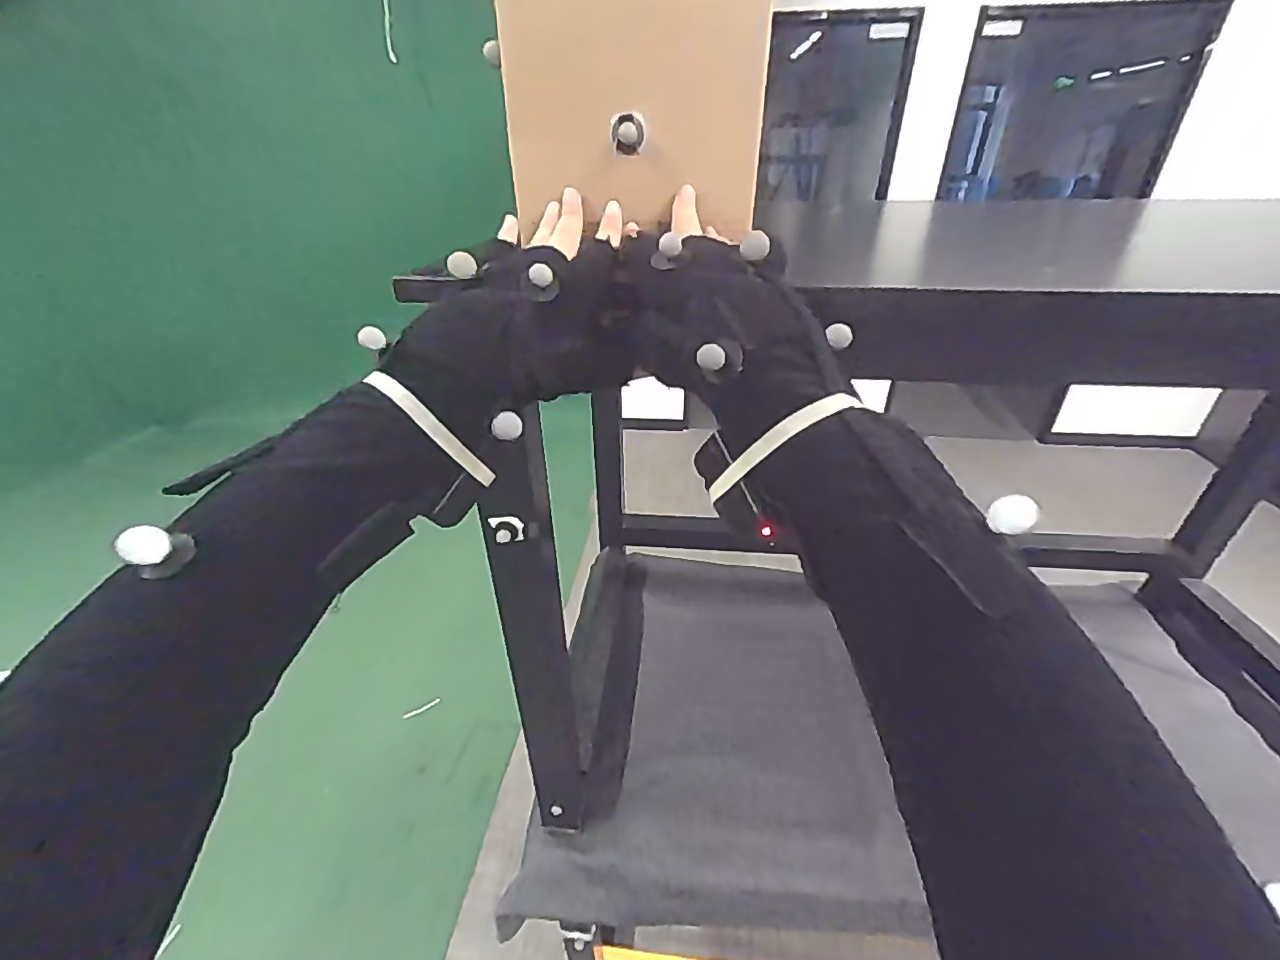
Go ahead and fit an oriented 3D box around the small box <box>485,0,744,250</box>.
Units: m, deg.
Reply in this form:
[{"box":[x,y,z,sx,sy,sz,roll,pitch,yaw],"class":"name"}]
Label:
[{"box":[-0.015,-0.285,0.435,0.168,0.176,0.179,-1,31,-2],"class":"small box"}]
